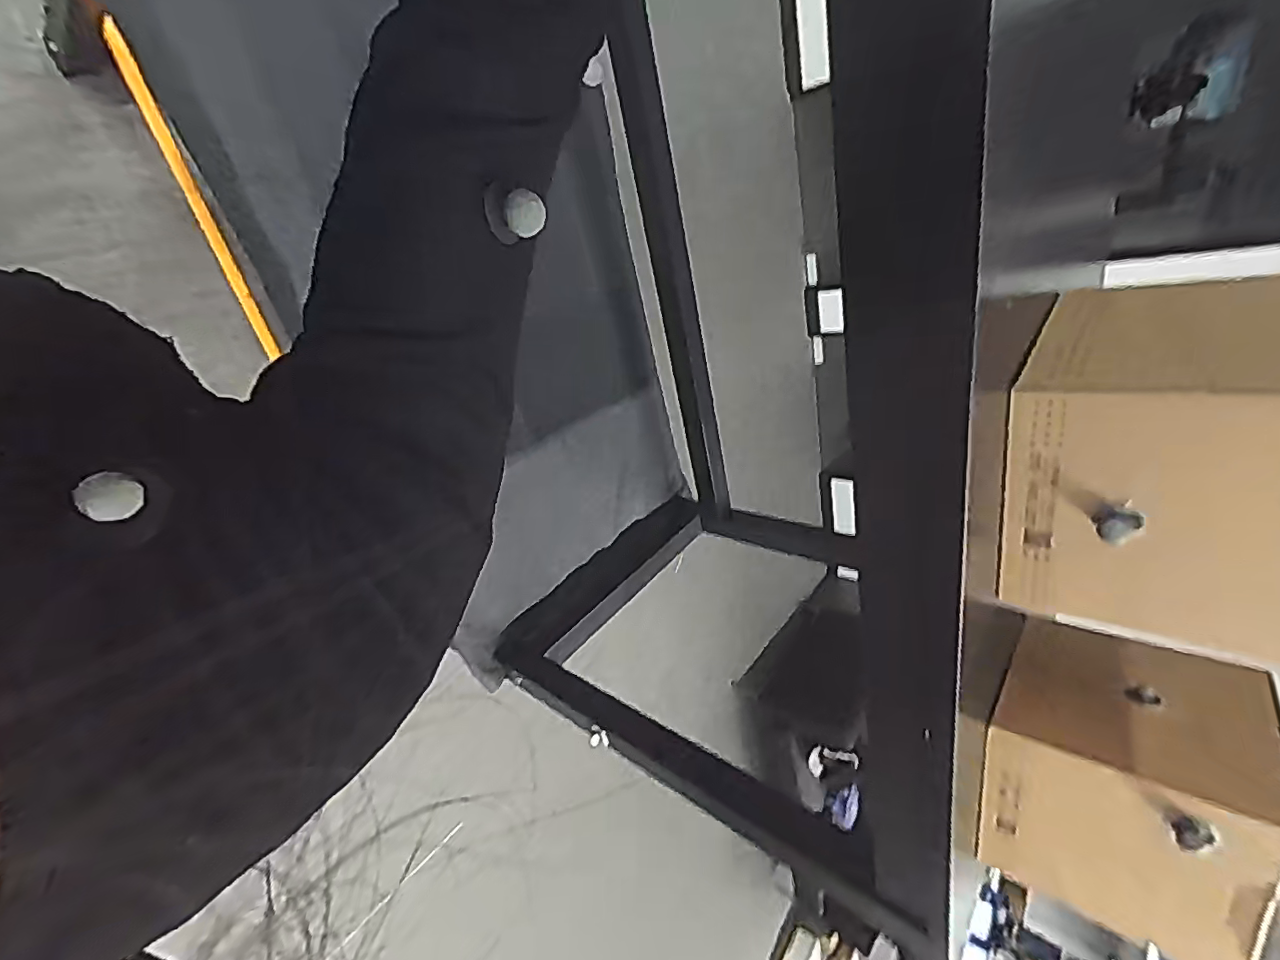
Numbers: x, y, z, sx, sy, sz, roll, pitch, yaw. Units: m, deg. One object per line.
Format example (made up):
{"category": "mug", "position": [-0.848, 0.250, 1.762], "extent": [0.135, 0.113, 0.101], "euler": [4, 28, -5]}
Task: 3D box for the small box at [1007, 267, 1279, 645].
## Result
{"category": "small box", "position": [0.350, -0.028, 0.337], "extent": [0.179, 0.176, 0.168], "euler": [-40, 125, -36]}
